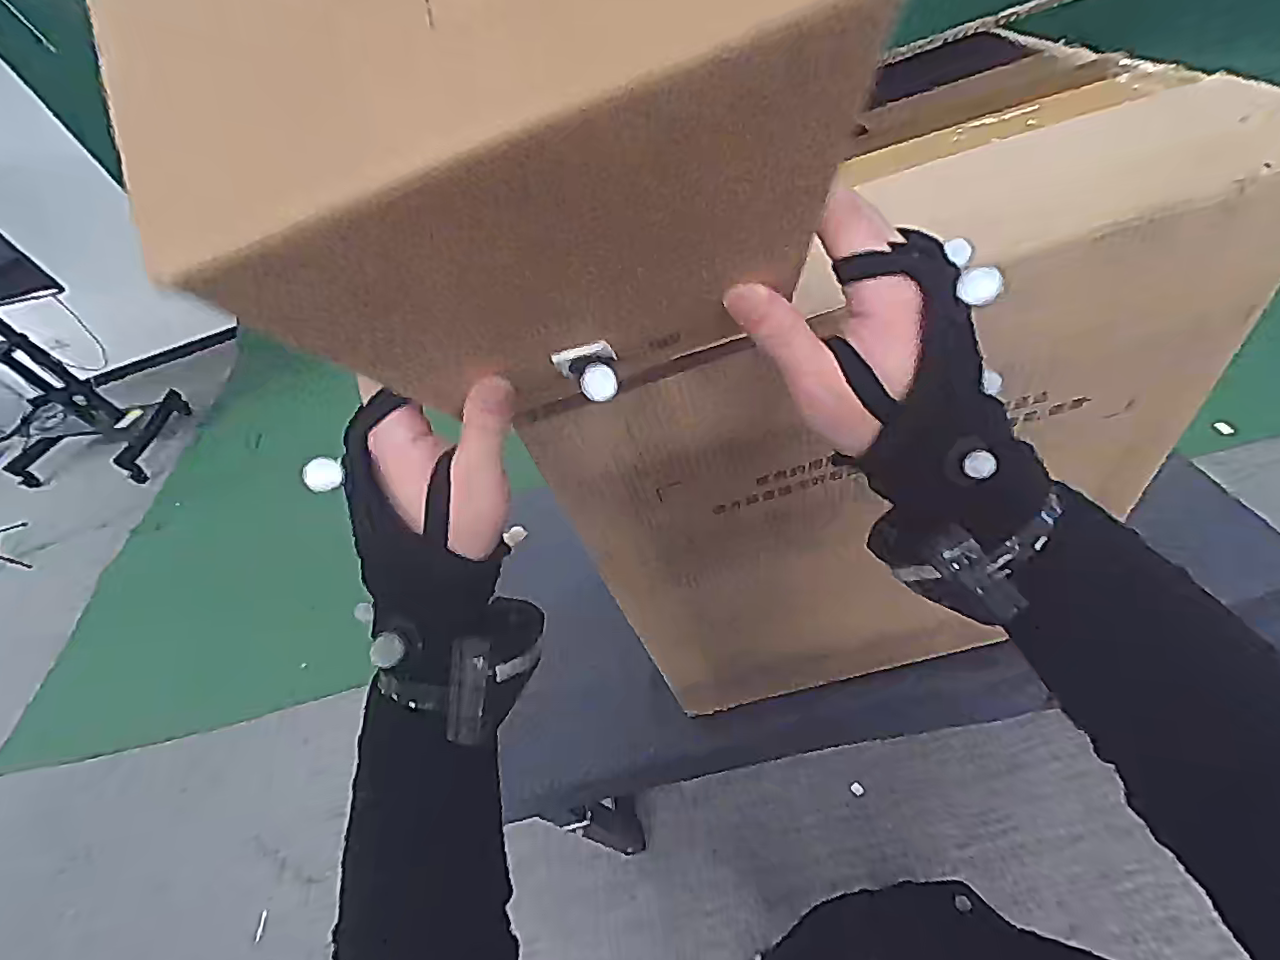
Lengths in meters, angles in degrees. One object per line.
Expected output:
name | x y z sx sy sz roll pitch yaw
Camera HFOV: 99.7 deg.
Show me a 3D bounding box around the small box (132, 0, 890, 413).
small box | -0.040 -0.147 0.206 0.168 0.176 0.179 -20 81 5
